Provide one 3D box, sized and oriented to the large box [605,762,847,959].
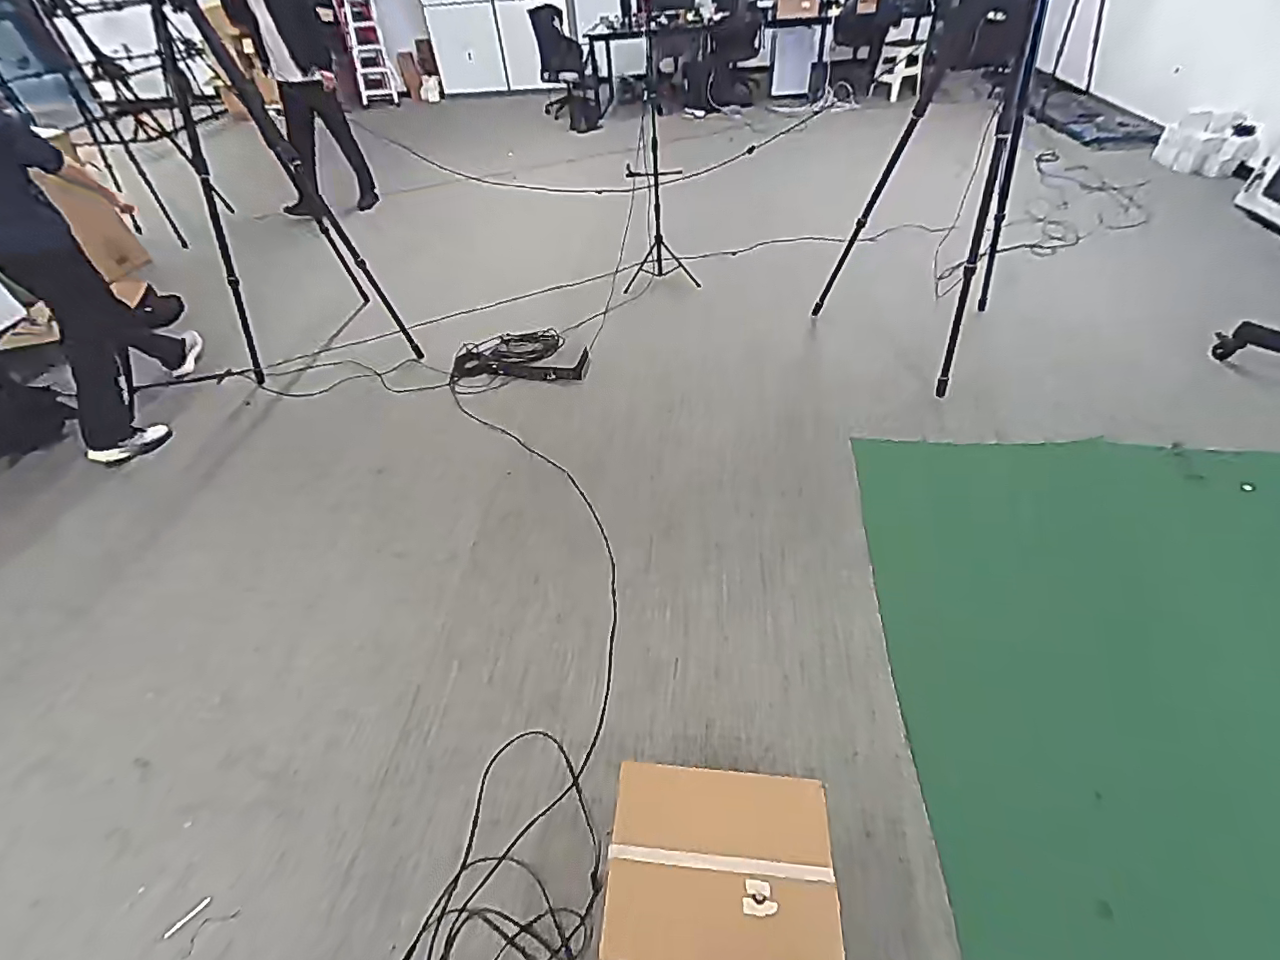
[{"bbox_3d":[0.157,0.799,1.086,0.408,0.320,0.320,3,46,6],"label":"large box"}]
